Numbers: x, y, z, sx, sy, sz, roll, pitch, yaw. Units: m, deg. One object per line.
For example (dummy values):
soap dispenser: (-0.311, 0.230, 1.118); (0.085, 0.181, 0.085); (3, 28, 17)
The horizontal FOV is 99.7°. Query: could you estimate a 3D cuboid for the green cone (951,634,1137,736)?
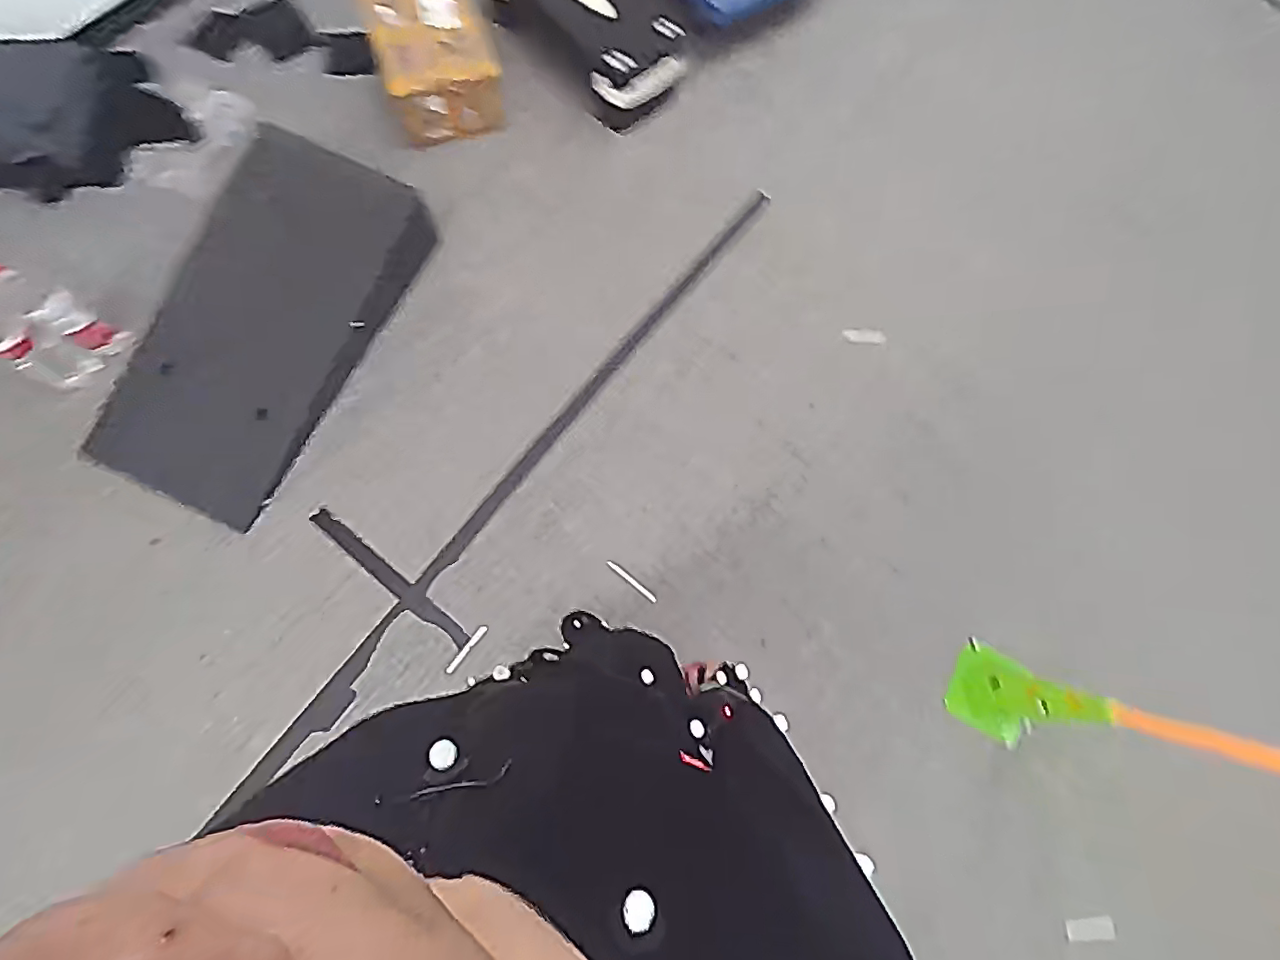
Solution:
green cone: (0.921, 0.484, 1.216); (0.202, 0.368, 0.200); (28, 76, 1)
